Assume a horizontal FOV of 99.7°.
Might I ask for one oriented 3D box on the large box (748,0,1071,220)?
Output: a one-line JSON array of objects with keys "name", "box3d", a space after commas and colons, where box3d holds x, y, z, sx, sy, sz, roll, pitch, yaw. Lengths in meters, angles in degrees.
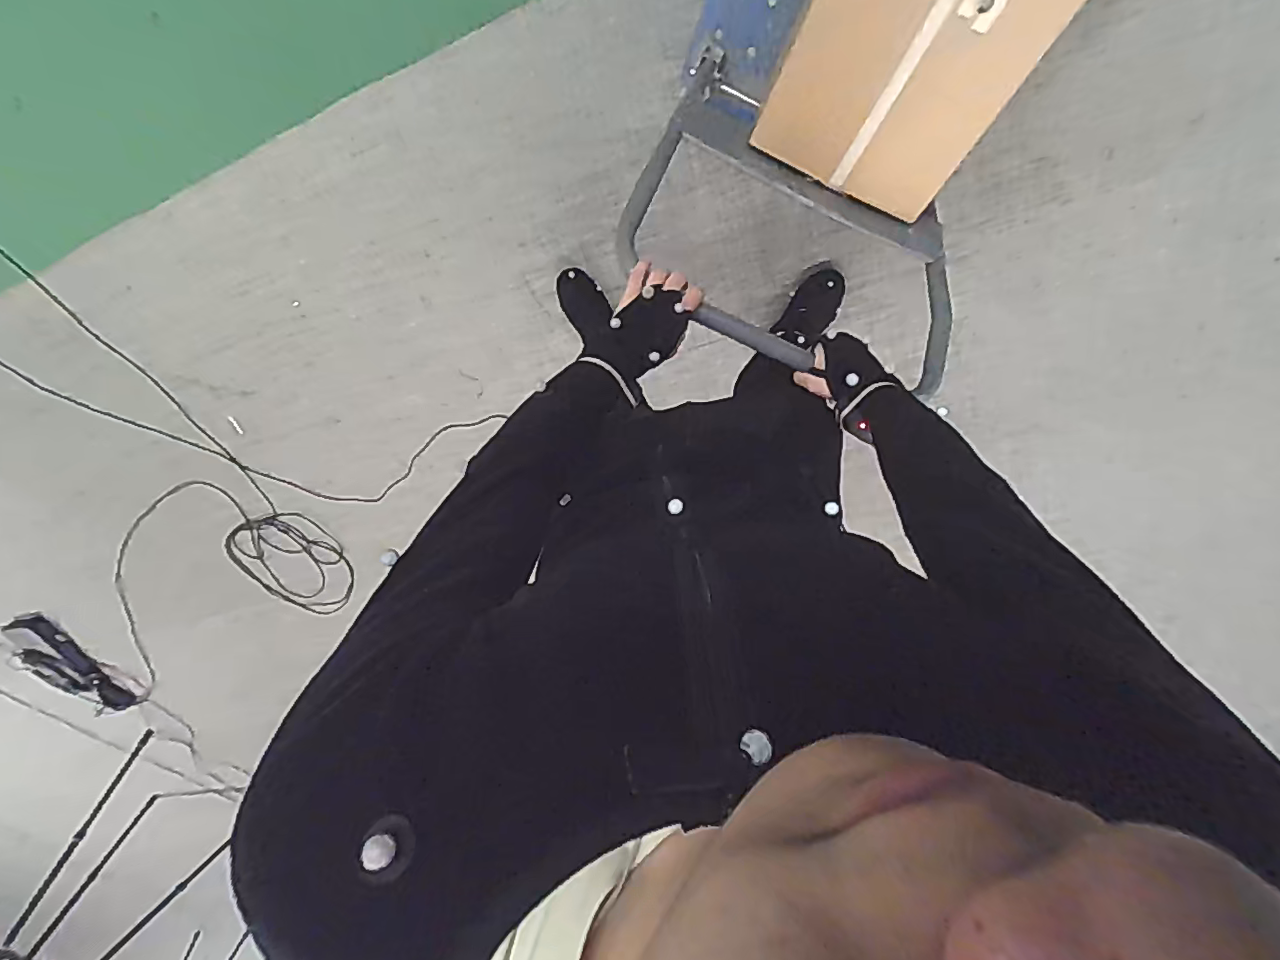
[{"name": "large box", "box3d": [0.412, -0.719, 0.857, 0.320, 0.320, 0.408, 22, 139, -7]}]
